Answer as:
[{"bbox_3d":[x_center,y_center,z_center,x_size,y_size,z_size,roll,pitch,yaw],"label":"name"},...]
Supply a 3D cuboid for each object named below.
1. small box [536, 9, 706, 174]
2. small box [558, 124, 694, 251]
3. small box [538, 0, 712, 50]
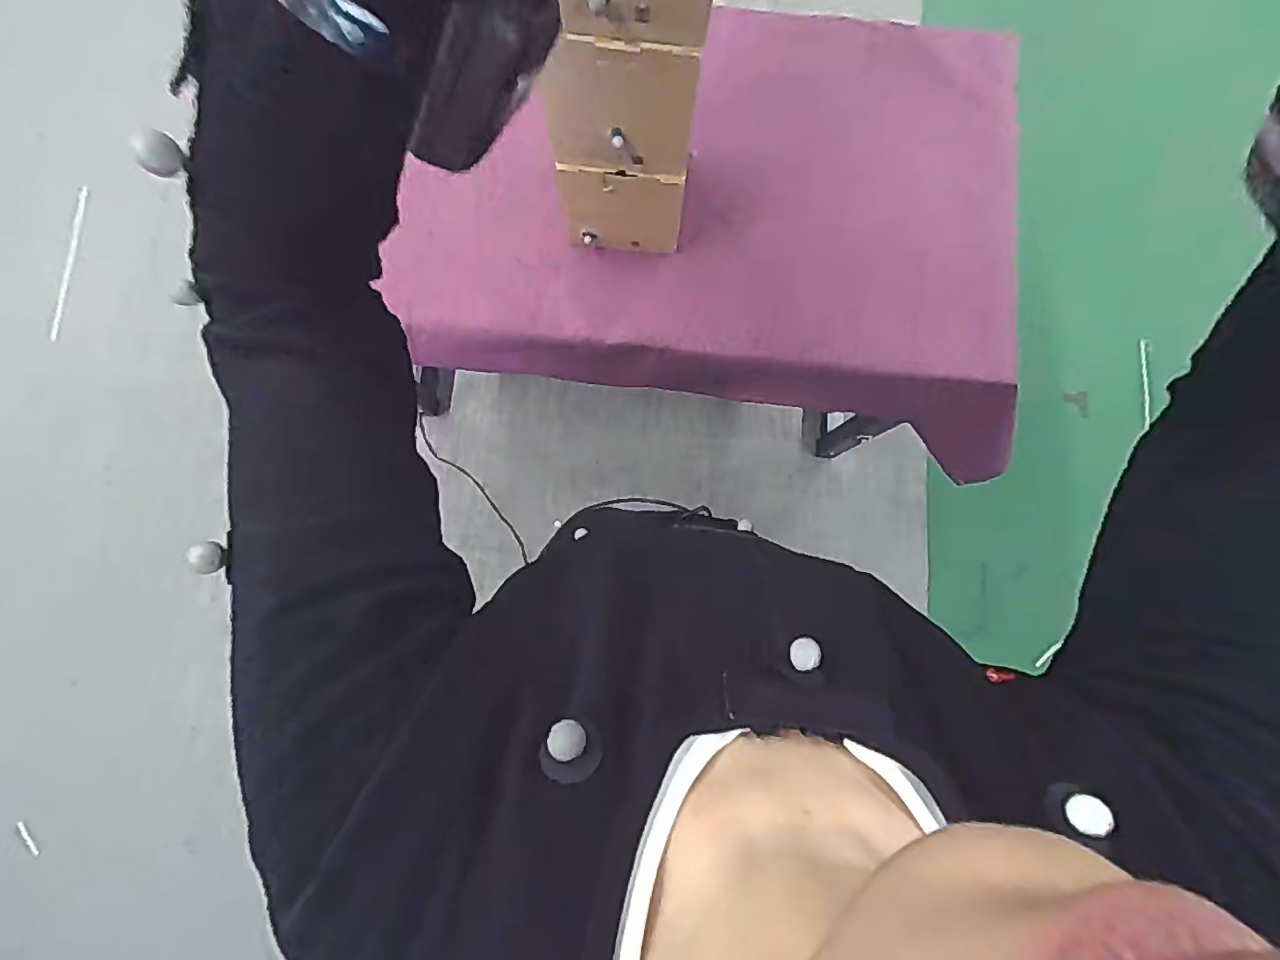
[{"bbox_3d":[-0.012,-0.488,0.610,0.168,0.176,0.179,7,82,1],"label":"small box"},{"bbox_3d":[-0.013,-0.455,0.771,0.168,0.176,0.179,7,81,0],"label":"small box"},{"bbox_3d":[-0.008,-0.517,0.450,0.168,0.176,0.179,6,81,1],"label":"small box"}]
